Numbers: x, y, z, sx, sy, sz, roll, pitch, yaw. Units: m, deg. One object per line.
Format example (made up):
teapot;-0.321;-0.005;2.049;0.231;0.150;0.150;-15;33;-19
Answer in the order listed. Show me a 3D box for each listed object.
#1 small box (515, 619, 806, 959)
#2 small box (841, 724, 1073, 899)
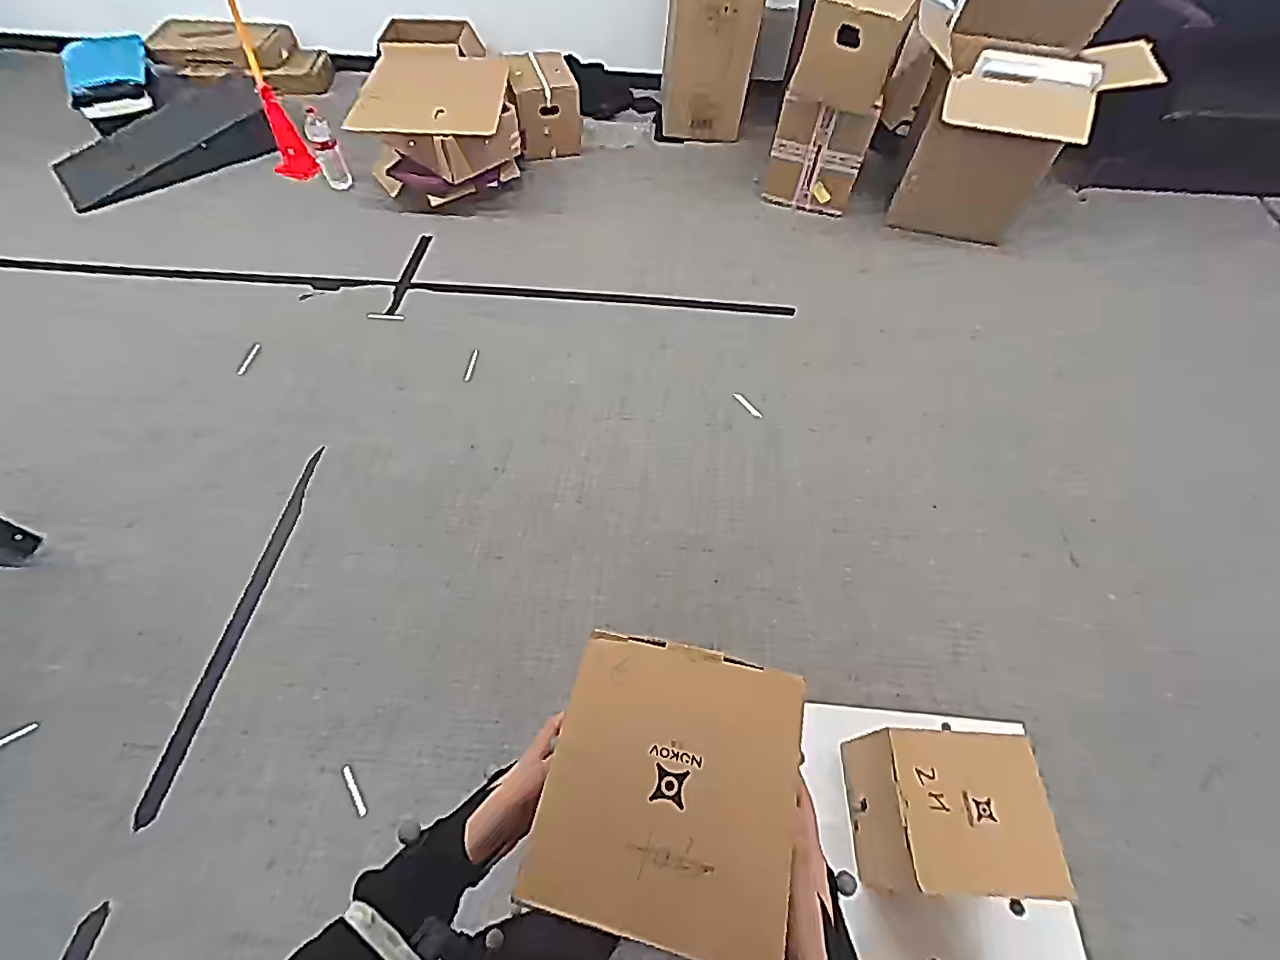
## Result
small box;0.025;0.236;0.428;0.168;0.176;0.179;10;59;11
small box;0.380;0.416;0.687;0.179;0.176;0.168;3;57;0
